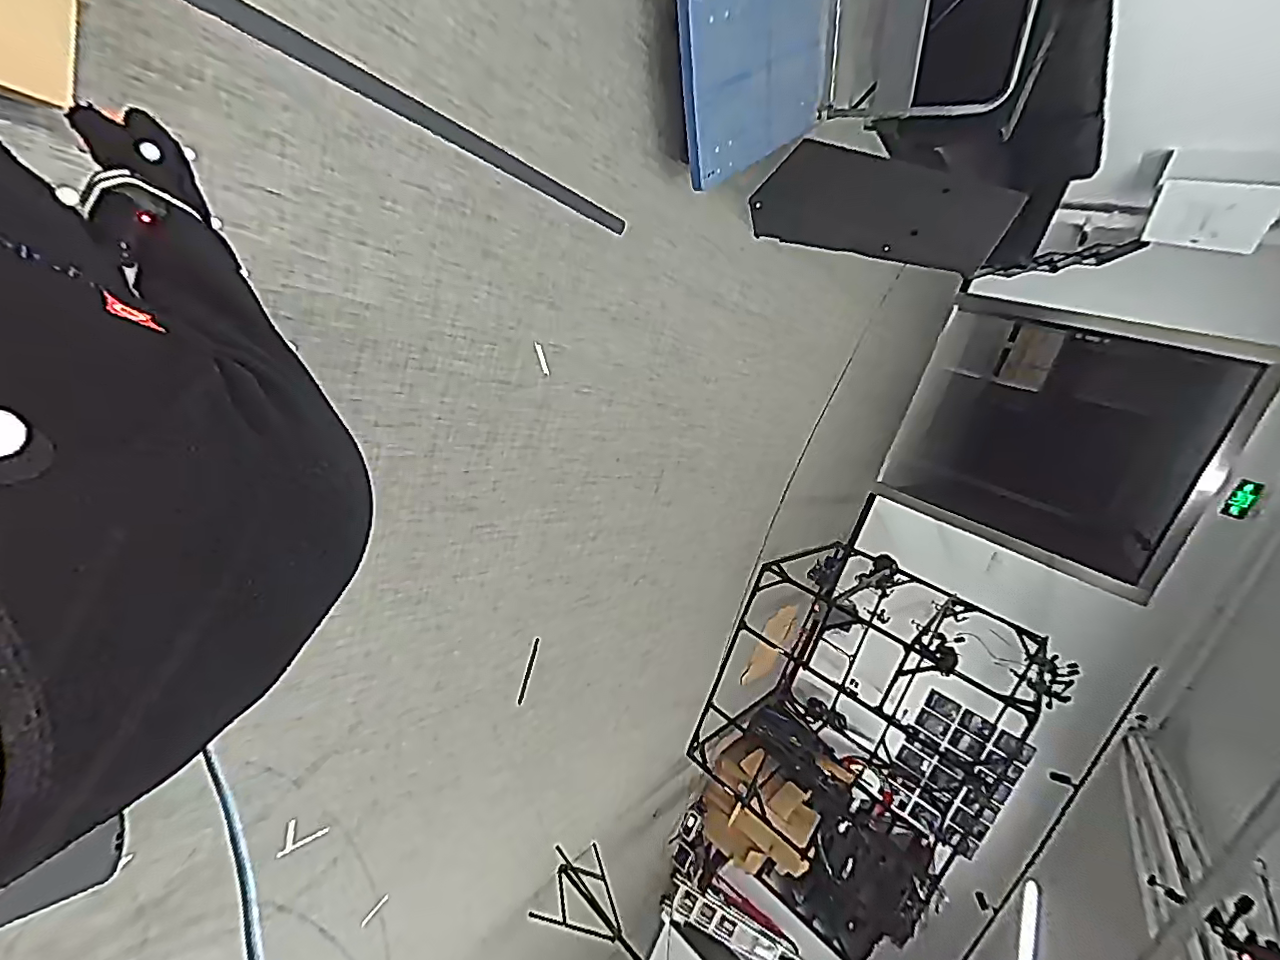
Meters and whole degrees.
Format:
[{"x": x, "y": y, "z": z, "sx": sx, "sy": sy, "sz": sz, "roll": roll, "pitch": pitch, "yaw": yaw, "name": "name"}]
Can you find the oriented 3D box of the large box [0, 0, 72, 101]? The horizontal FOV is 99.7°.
[{"x": -0.983, "y": -0.713, "z": 0.636, "sx": 0.408, "sy": 0.320, "sz": 0.320, "roll": -3, "pitch": 116, "yaw": -53, "name": "large box"}]
